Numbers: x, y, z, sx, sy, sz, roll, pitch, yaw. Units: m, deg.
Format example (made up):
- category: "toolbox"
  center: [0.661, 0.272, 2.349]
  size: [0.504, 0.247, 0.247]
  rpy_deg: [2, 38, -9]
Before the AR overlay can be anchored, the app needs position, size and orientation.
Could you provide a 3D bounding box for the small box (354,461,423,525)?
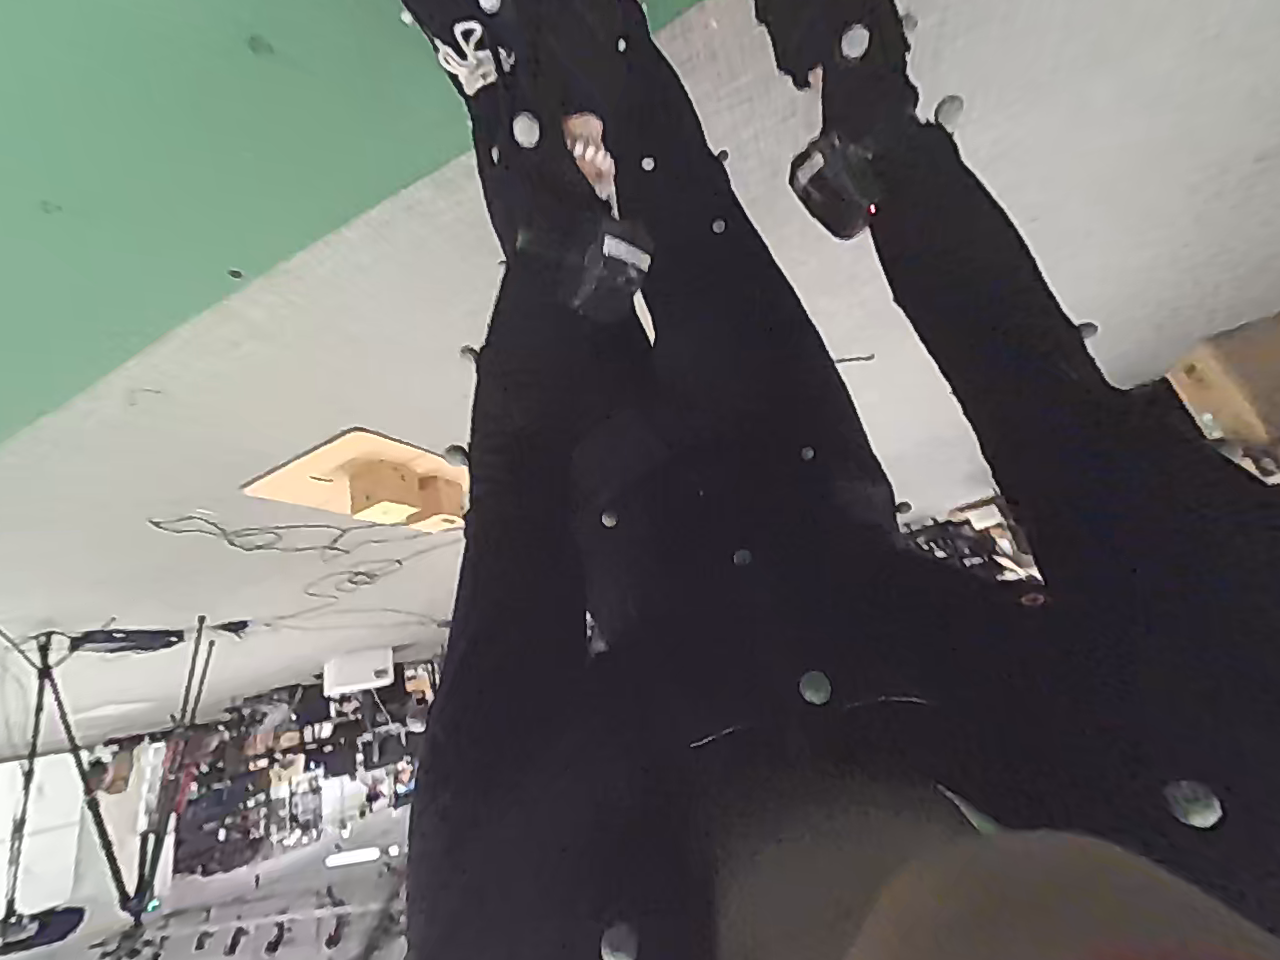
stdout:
- category: "small box"
  center: [-0.938, 0.050, 2.018]
  size: [0.179, 0.176, 0.168]
  rpy_deg: [-23, 158, 20]
